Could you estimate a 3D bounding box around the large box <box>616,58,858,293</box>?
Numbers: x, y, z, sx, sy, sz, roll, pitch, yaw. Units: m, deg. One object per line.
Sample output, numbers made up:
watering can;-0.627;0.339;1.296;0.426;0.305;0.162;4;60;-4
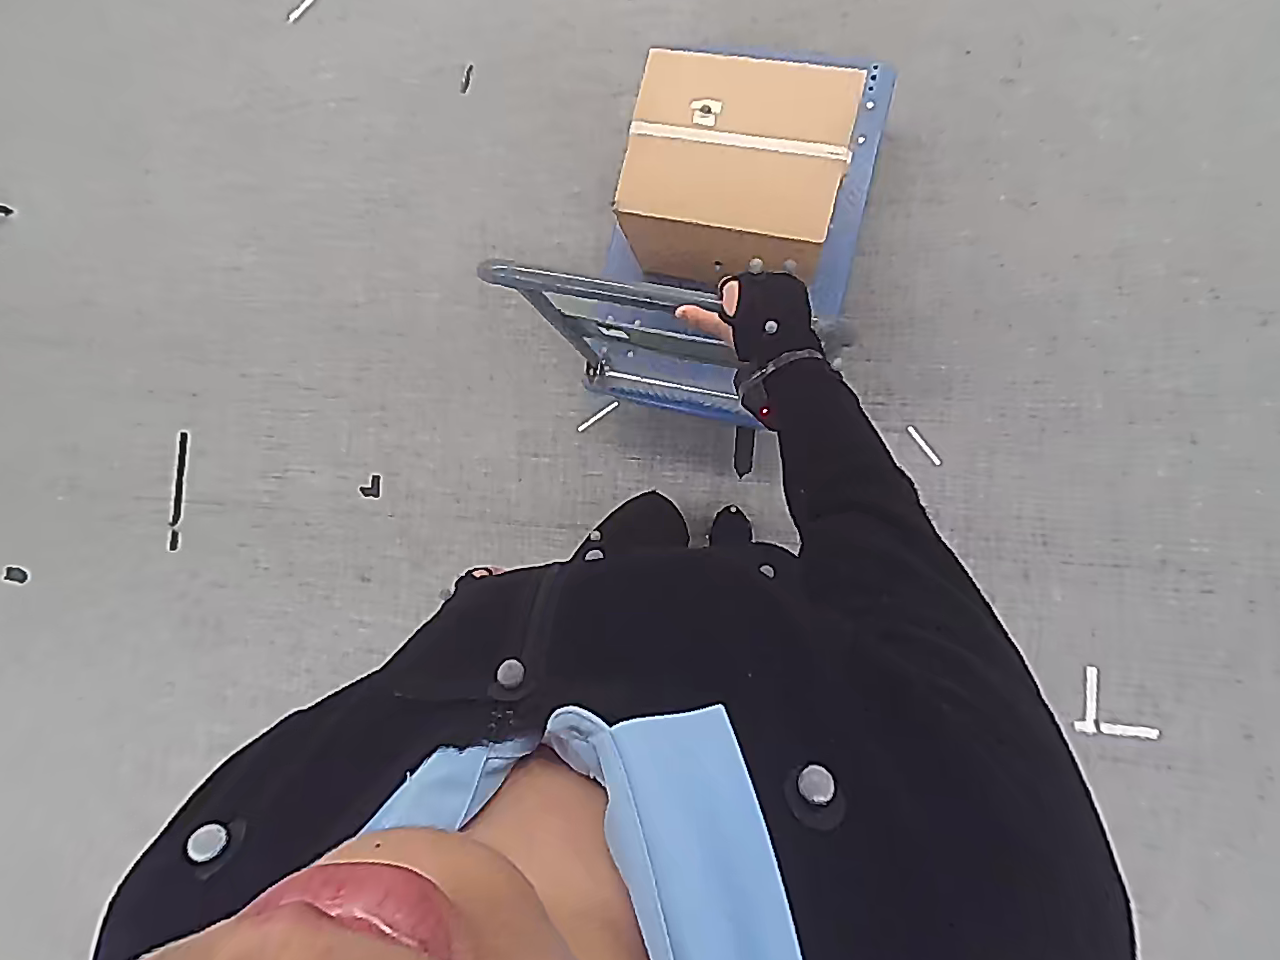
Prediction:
large box;0.205;-0.626;1.158;0.408;0.320;0.320;14;91;12
